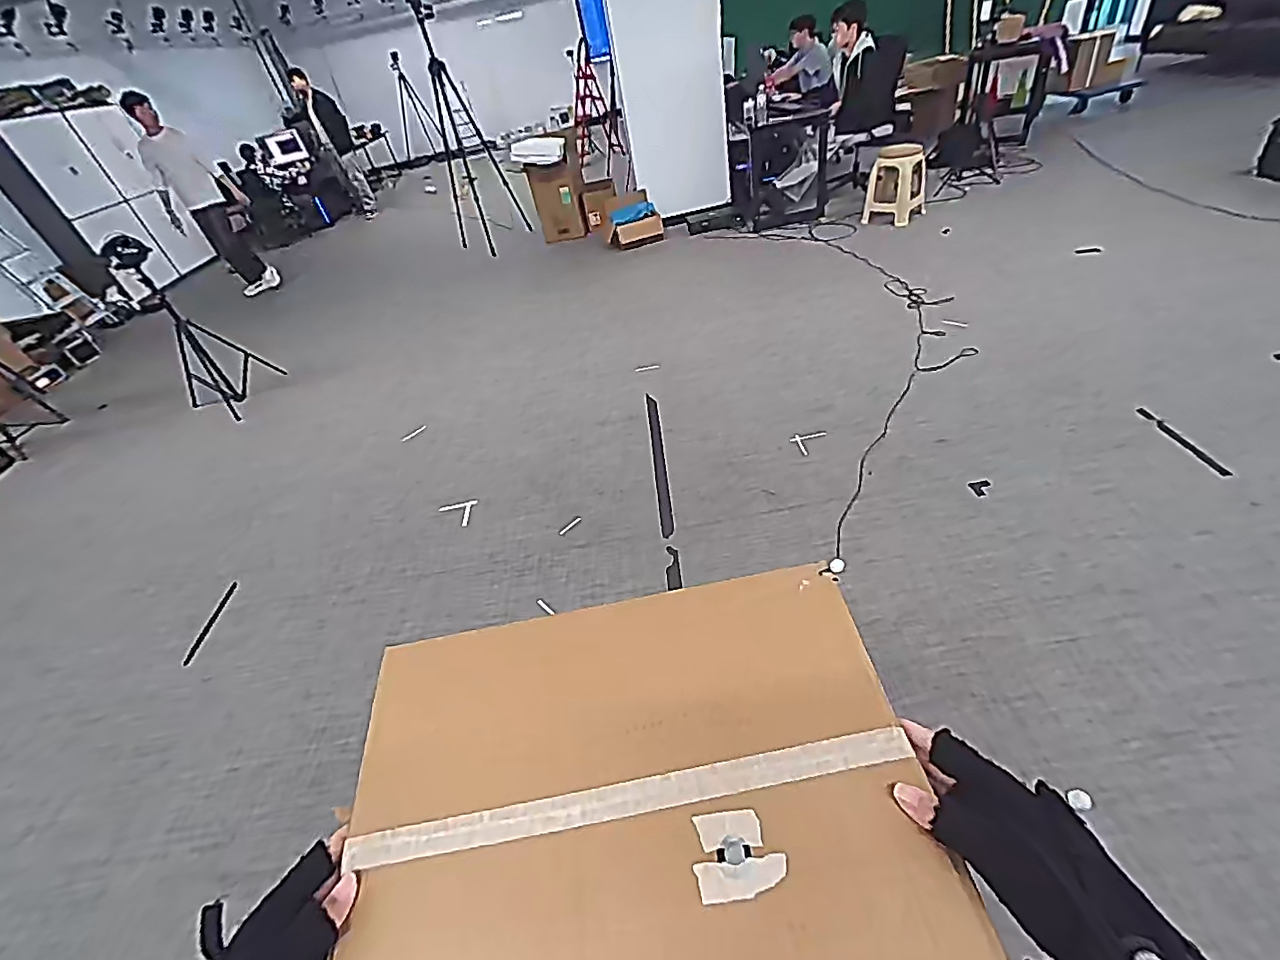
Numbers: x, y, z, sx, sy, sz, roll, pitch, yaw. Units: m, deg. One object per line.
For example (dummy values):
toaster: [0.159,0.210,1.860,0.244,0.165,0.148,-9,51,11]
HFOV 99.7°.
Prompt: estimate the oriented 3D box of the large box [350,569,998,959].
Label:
large box: [0.012,0.330,0.506,0.408,0.320,0.320,-11,48,-1]
